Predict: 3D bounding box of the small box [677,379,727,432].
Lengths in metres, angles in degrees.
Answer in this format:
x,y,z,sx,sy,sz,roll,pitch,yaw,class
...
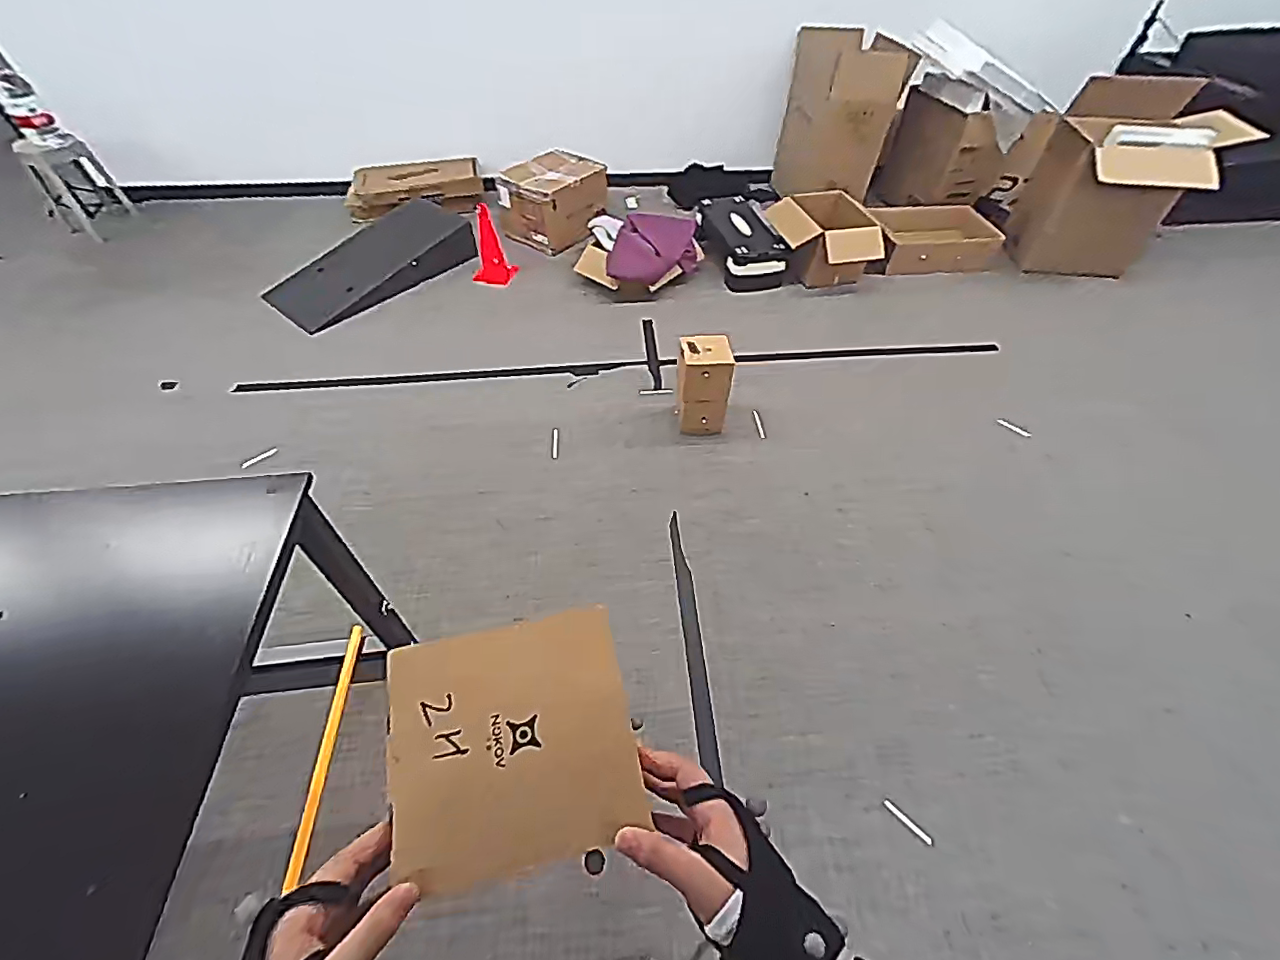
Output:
x,y,z,sx,sy,sz,roll,pitch,yaw,class
0.235,-0.299,2.095,0.168,0.176,0.179,-3,51,-3,small box

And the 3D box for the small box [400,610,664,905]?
x,y,z,sx,sy,sz,roll,pitch,yaw,class
-0.089,0.227,0.465,0.179,0.176,0.168,-10,62,-9,small box

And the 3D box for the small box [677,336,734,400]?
x,y,z,sx,sy,sz,roll,pitch,yaw,class
0.232,-0.406,1.969,0.179,0.176,0.168,-3,50,-5,small box
